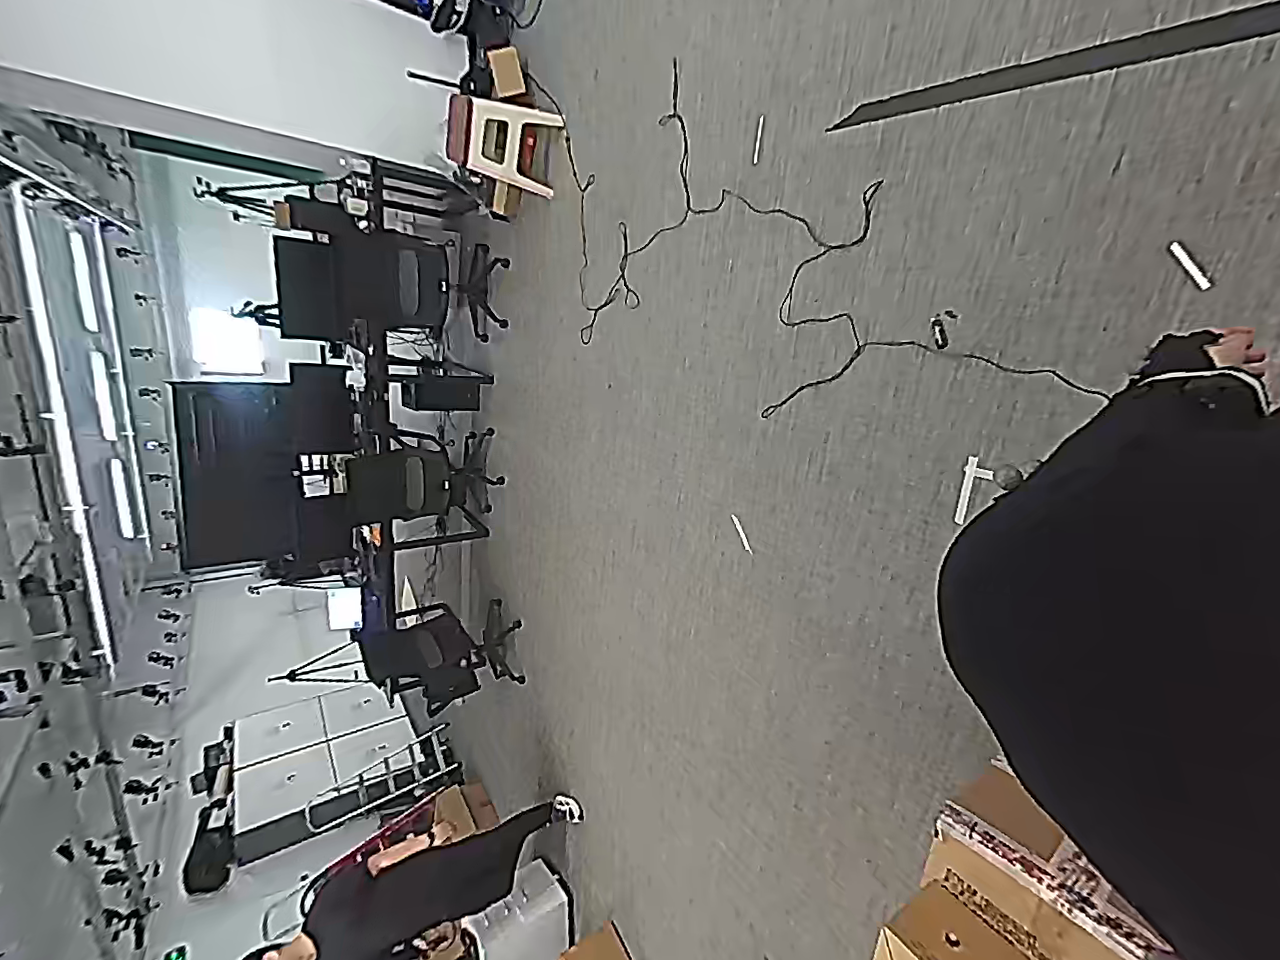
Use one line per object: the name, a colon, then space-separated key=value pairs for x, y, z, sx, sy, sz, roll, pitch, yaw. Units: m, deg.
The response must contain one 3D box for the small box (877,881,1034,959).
small box: x=0.511 y=0.834 z=0.895 sx=0.168 sy=0.176 sz=0.179 roll=24 pitch=112 yaw=53
